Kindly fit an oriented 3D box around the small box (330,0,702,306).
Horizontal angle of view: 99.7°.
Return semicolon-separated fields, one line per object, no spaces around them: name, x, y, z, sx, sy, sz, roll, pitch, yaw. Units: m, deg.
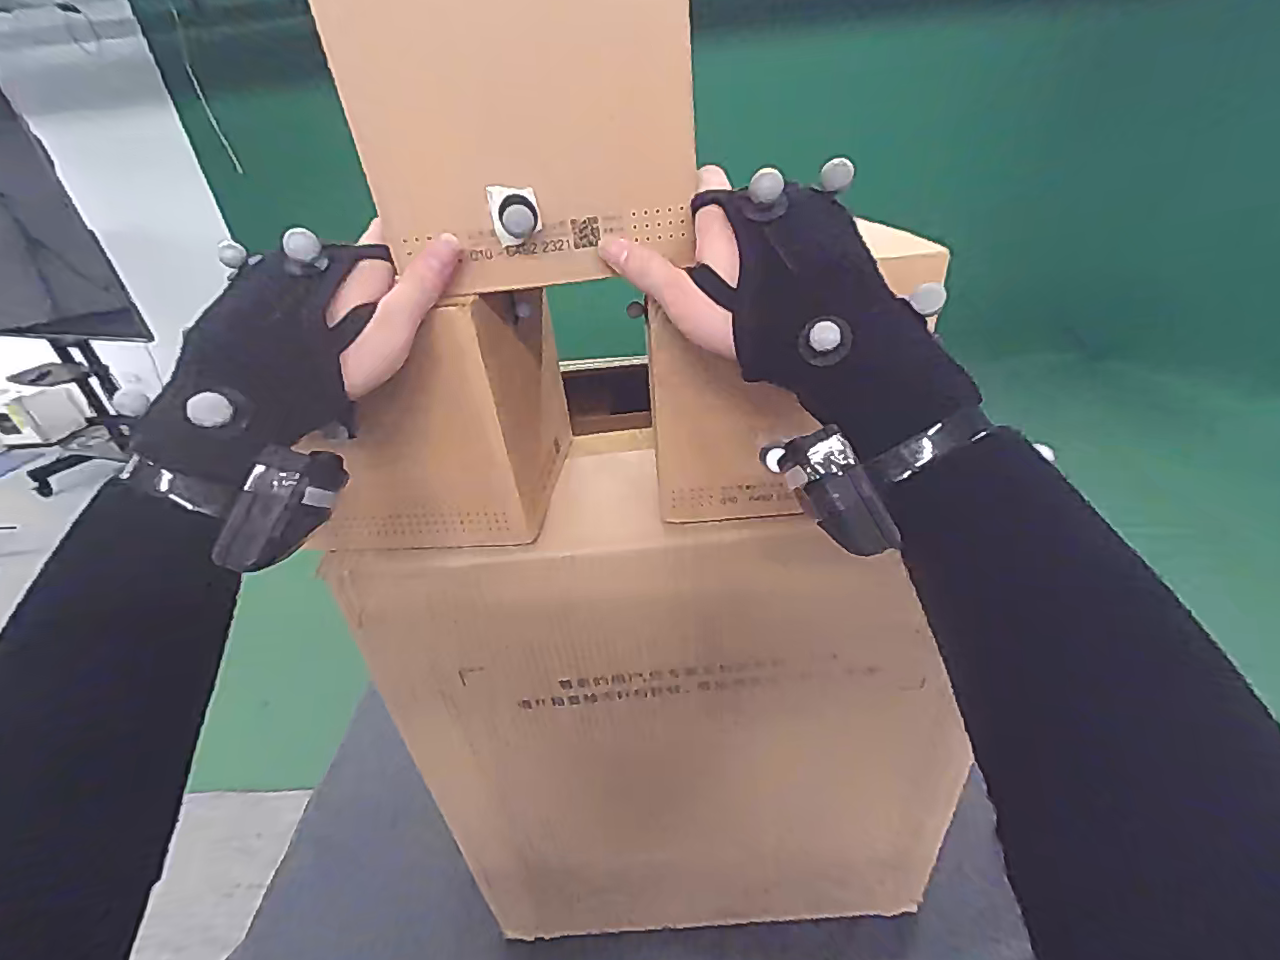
small box;-0.059;-0.214;0.330;0.168;0.176;0.179;-8;33;-1

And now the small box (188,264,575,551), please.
small box;-0.160;-0.059;0.406;0.179;0.176;0.168;-3;33;7
